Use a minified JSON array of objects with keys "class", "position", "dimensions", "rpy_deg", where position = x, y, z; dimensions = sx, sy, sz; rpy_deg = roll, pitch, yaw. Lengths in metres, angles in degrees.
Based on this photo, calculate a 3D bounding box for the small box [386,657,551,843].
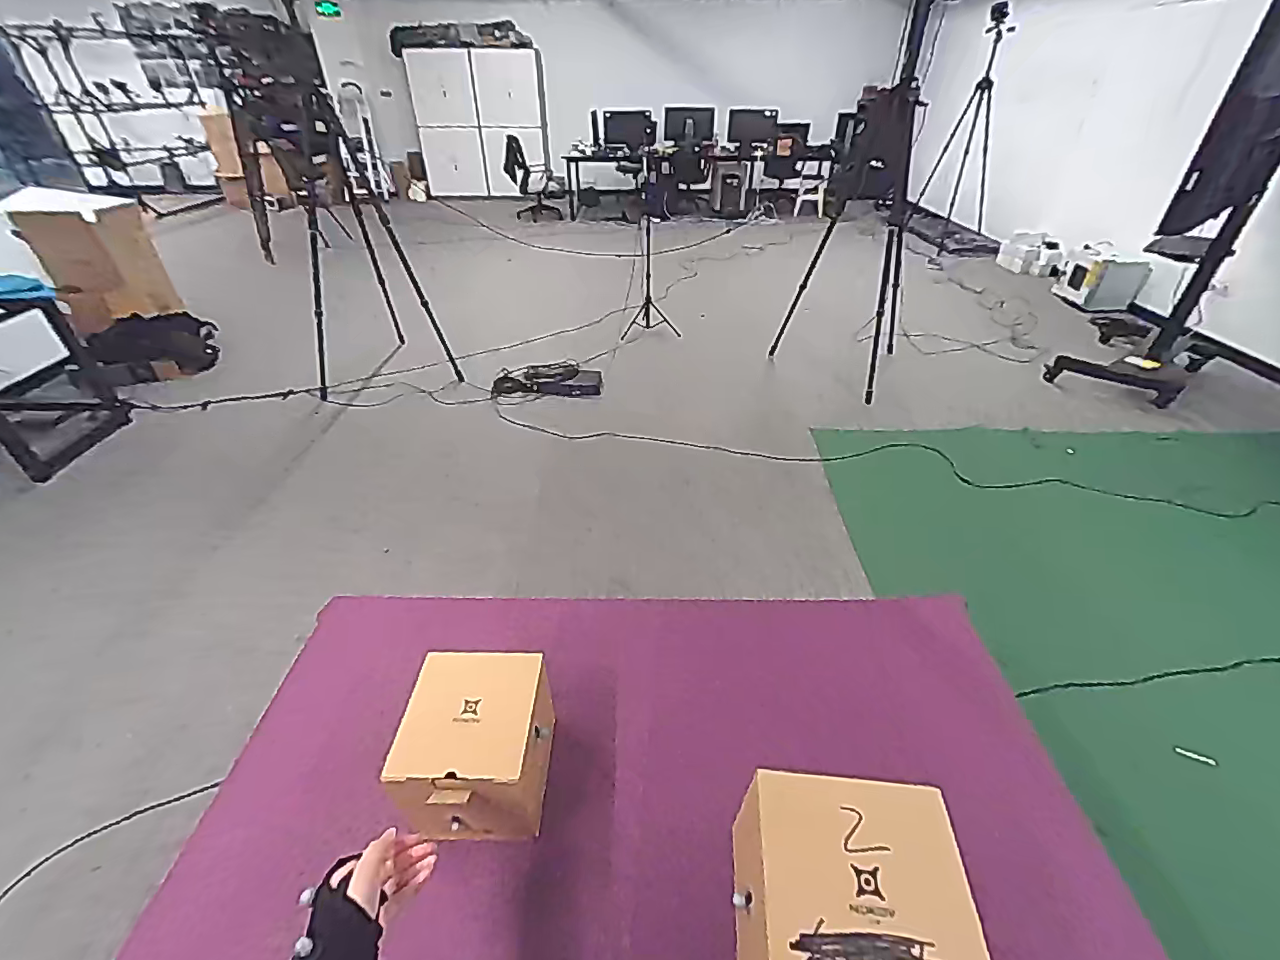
[{"class":"small box","position":[-0.222,0.372,0.754],"dimensions":[0.168,0.176,0.179],"rpy_deg":[1,37,1]}]
